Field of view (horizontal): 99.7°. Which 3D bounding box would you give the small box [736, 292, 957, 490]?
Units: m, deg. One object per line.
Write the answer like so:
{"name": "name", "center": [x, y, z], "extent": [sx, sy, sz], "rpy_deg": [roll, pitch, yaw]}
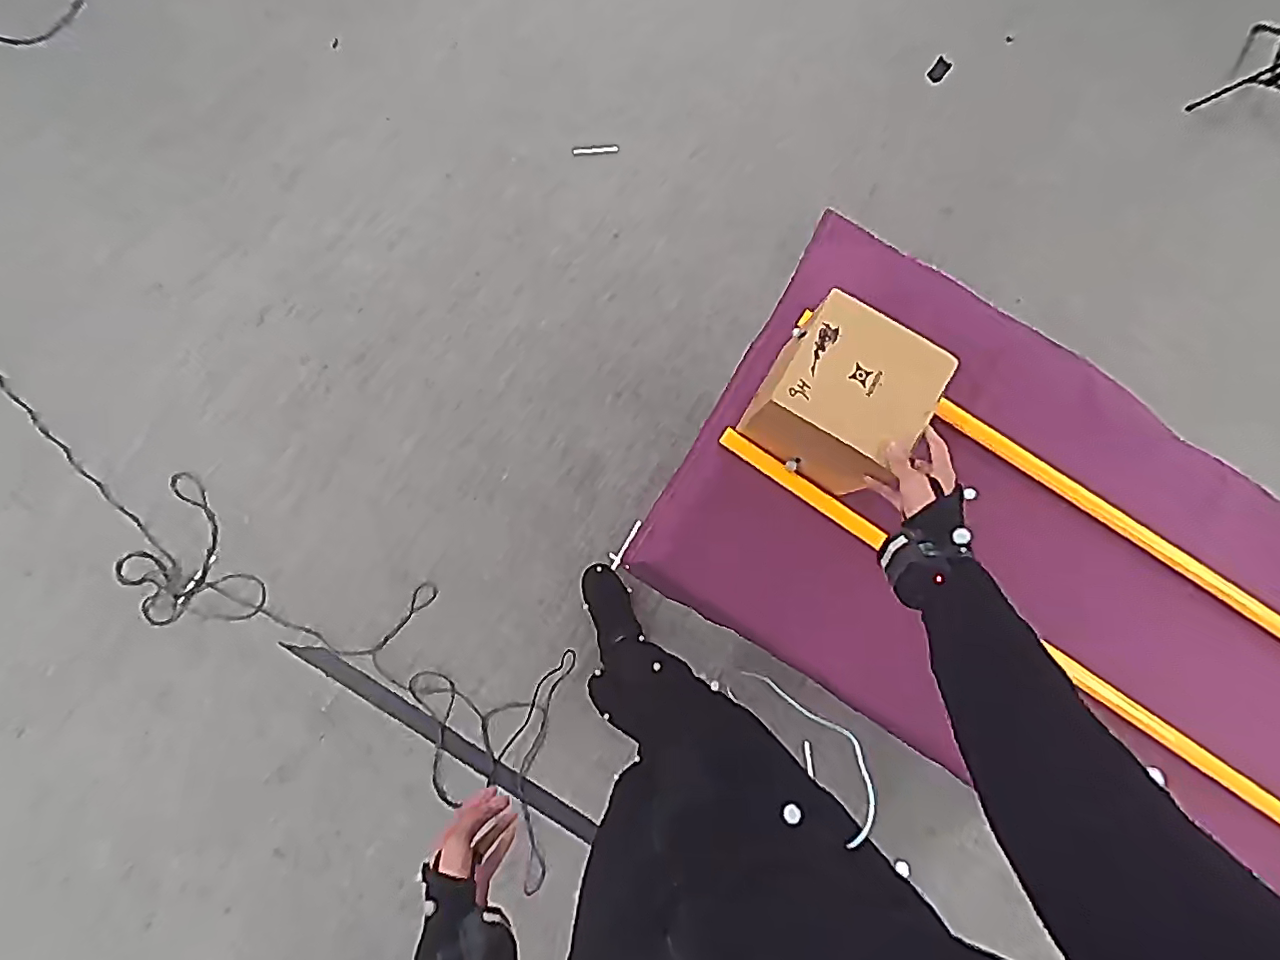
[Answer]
{"name": "small box", "center": [0.253, -0.099, 0.700], "extent": [0.179, 0.176, 0.168], "rpy_deg": [32, 80, 0]}
